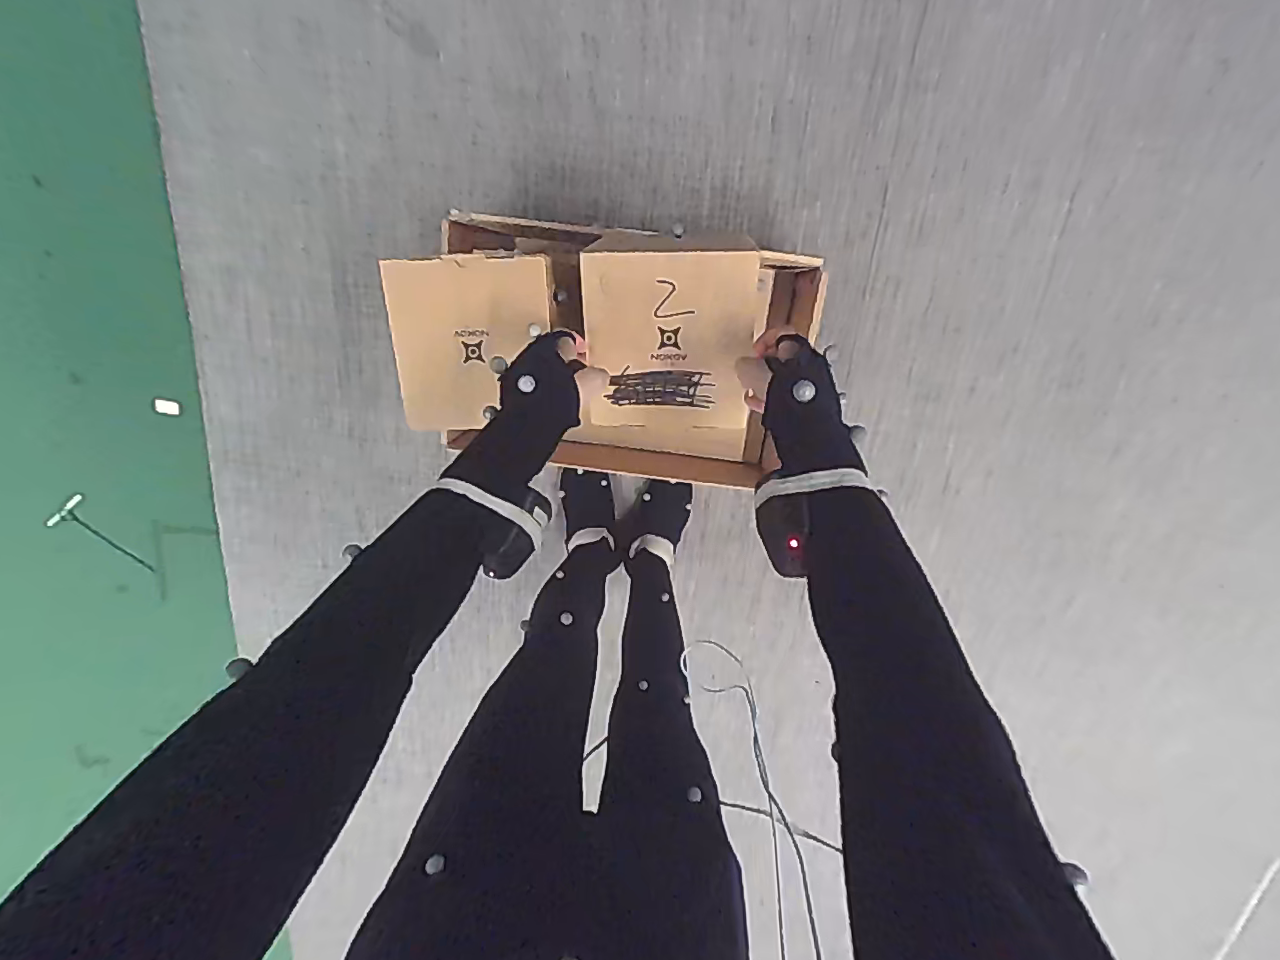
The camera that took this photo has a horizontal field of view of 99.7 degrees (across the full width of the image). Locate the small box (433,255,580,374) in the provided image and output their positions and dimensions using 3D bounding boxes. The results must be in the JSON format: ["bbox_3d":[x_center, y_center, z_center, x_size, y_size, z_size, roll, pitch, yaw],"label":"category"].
[{"bbox_3d":[-0.181,-0.231,0.783,0.179,0.176,0.168,3,109,1],"label":"small box"}]

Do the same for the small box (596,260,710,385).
[{"bbox_3d":[0.022,-0.273,0.935,0.168,0.176,0.179,7,109,2],"label":"small box"}]

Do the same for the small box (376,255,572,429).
[{"bbox_3d":[-0.175,-0.165,0.633,0.168,0.176,0.179,-1,109,2],"label":"small box"}]
